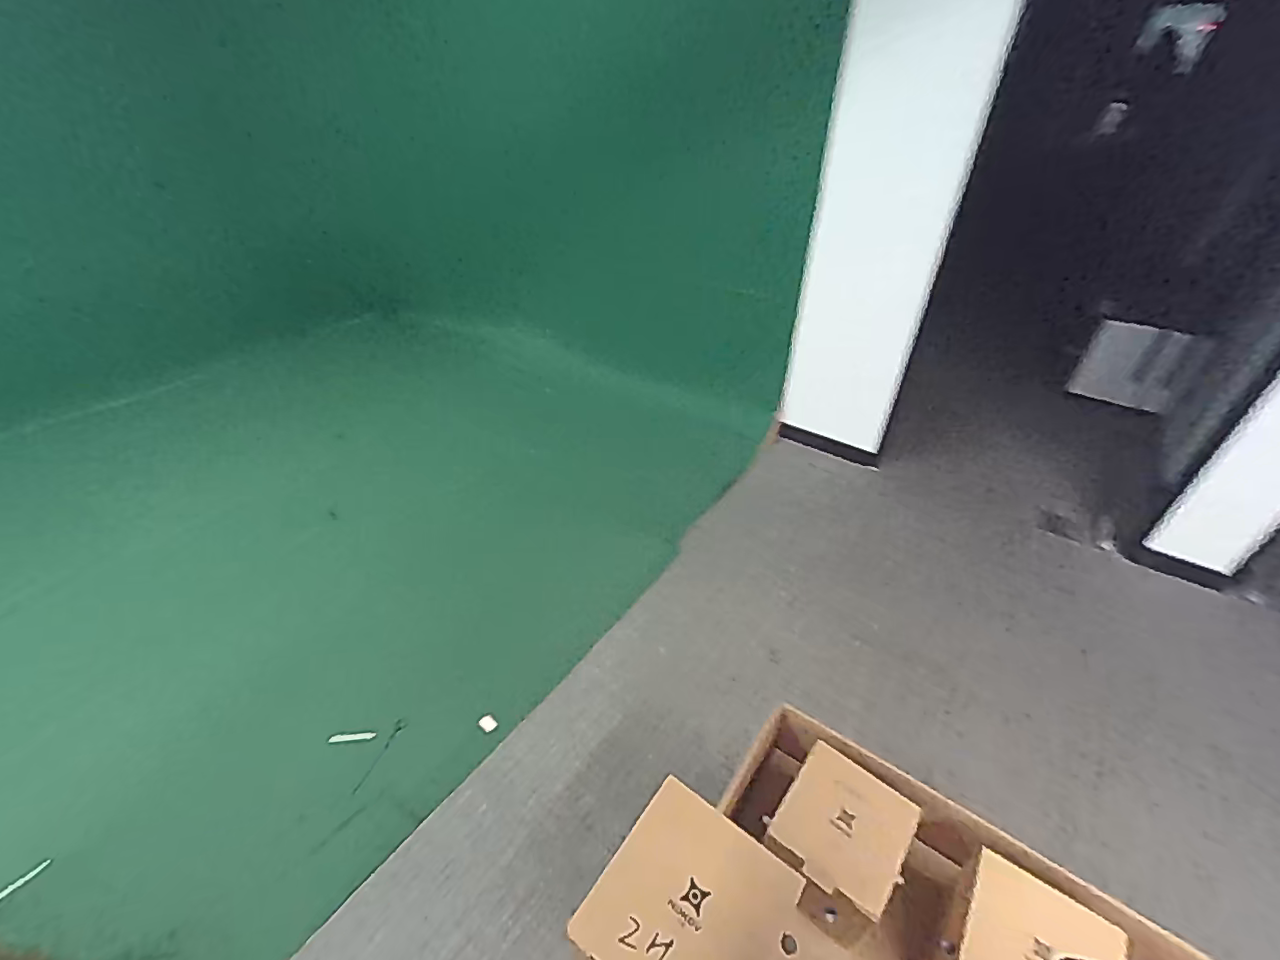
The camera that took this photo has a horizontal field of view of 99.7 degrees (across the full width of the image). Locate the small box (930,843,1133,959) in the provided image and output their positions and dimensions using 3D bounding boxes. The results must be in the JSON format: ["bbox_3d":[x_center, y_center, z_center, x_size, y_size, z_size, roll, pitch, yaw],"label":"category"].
[{"bbox_3d":[0.505,0.642,0.717,0.168,0.176,0.179,24,47,29],"label":"small box"}]

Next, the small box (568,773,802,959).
[{"bbox_3d":[0.044,0.462,0.568,0.168,0.176,0.179,26,47,27],"label":"small box"}]
